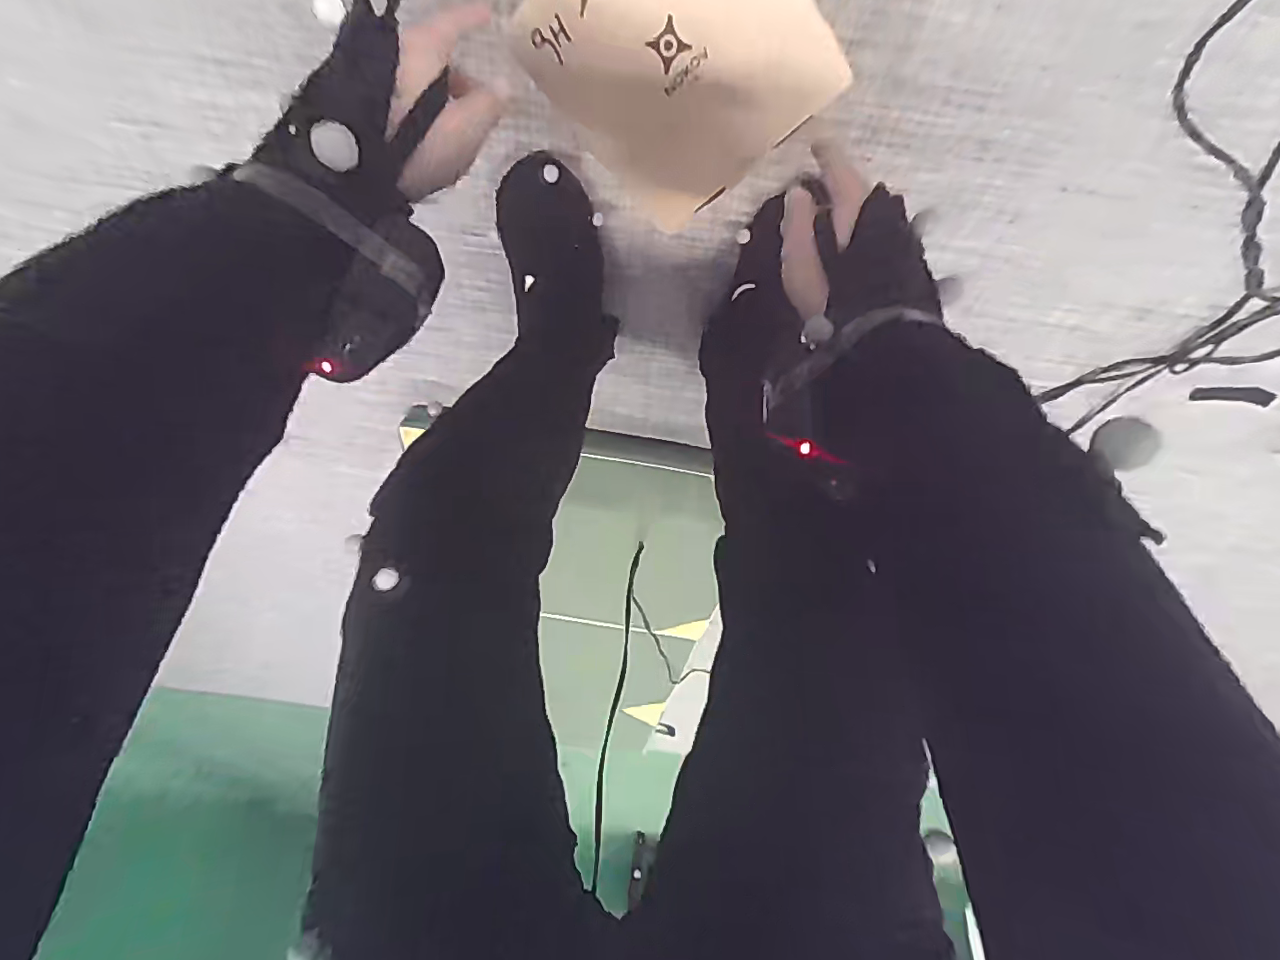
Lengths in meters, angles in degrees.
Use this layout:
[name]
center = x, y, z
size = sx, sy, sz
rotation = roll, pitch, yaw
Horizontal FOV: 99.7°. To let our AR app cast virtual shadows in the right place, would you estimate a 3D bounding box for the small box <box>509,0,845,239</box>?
[small box]
center = 0.034, -0.337, 0.417
size = 0.168, 0.176, 0.179
rotation = -27, 129, 34
